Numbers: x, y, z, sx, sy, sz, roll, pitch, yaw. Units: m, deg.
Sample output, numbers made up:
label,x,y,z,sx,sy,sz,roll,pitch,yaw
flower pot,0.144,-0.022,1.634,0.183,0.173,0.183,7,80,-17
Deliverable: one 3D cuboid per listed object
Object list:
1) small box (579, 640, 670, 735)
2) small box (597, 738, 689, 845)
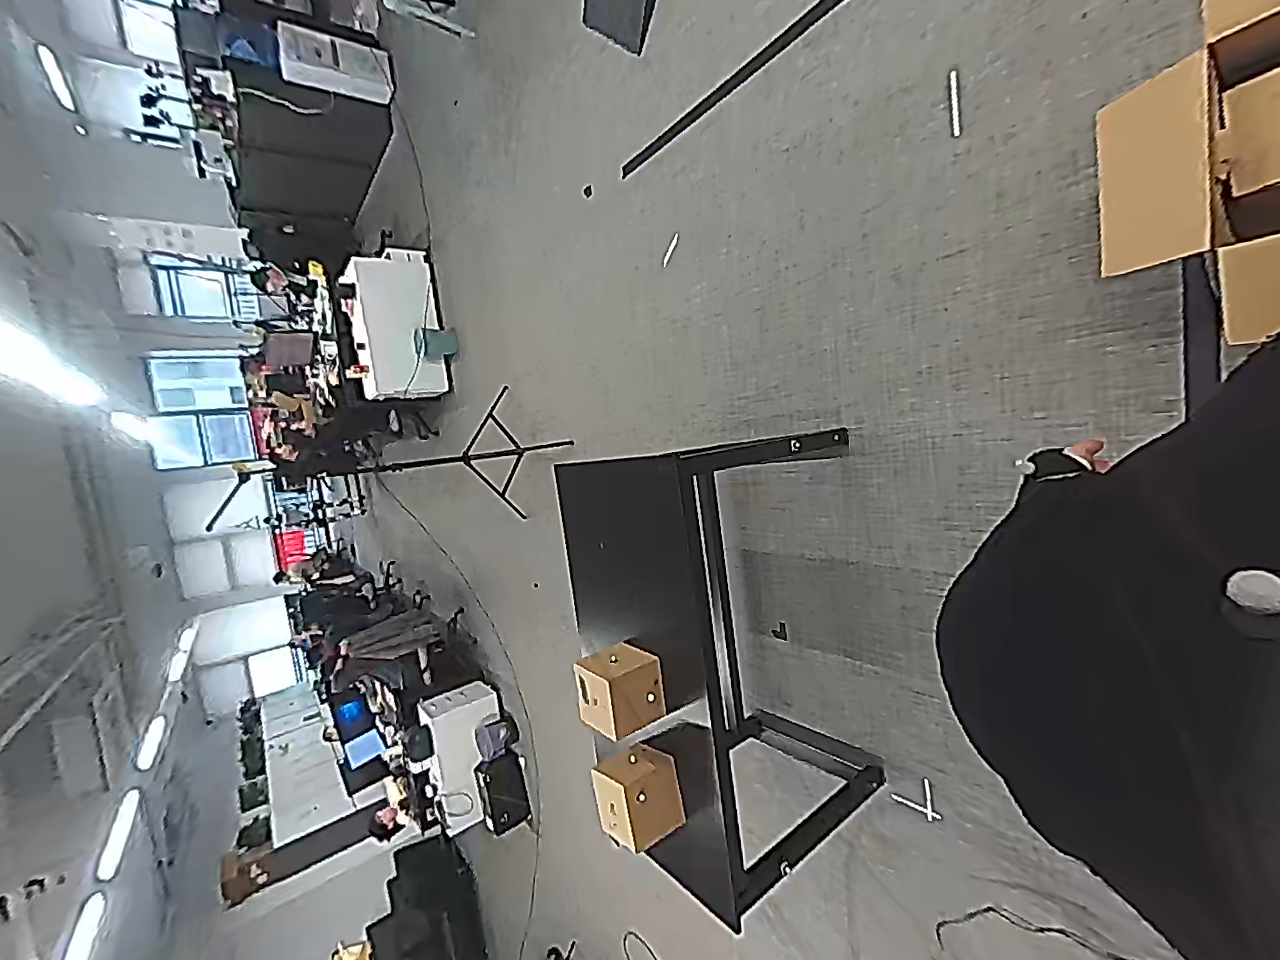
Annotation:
label,x,y,z,sx,sy,sz,roll,pitch,yaw
small box,-0.042,0.549,1.463,0.179,0.176,0.168,0,99,53
small box,0.008,0.834,1.470,0.168,0.176,0.179,-14,88,55
